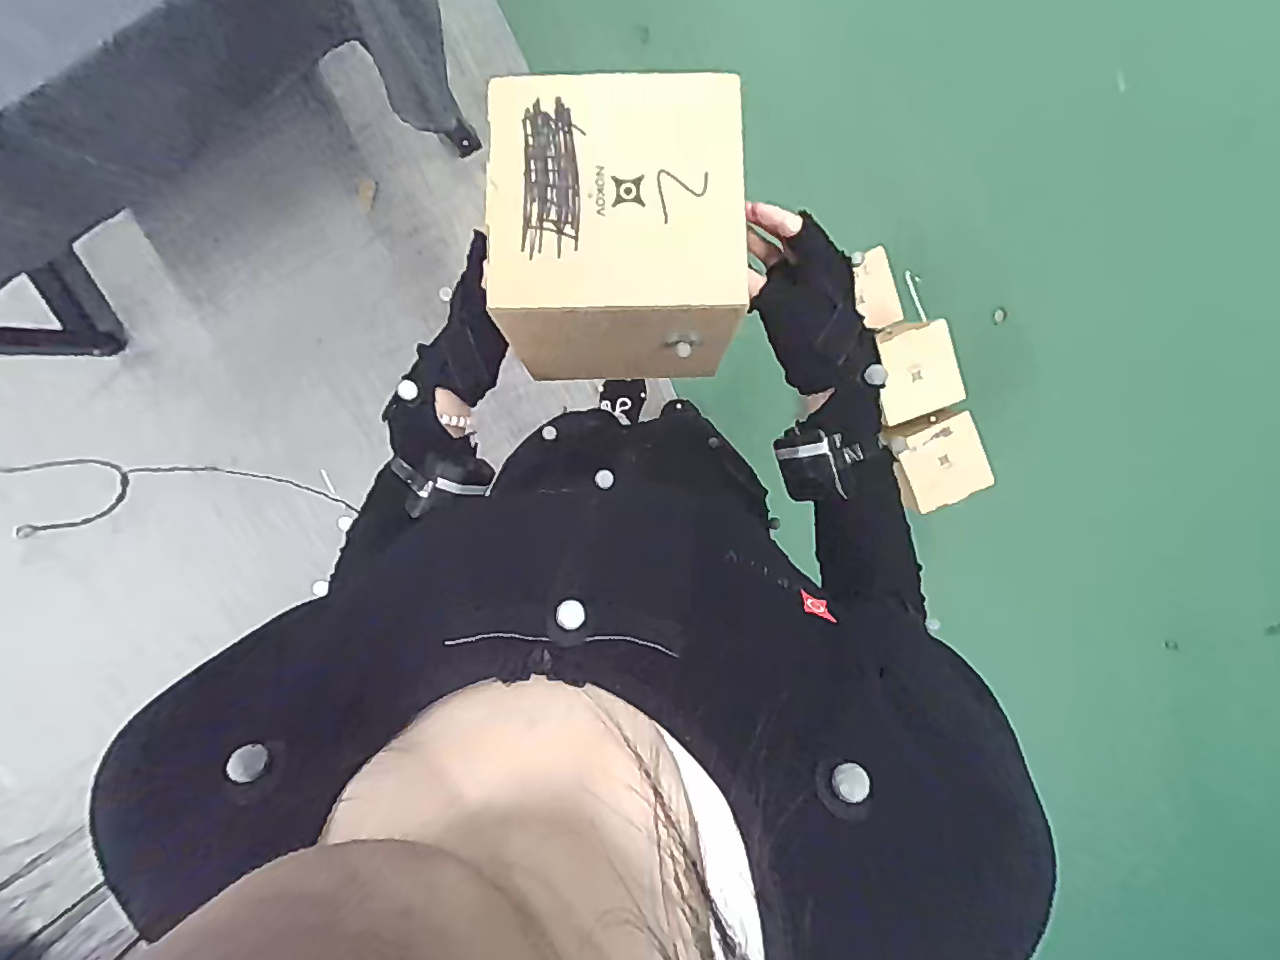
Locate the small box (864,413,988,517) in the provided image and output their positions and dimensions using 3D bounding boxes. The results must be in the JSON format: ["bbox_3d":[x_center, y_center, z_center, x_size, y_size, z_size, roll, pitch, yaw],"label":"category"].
[{"bbox_3d":[0.642,-0.045,1.231,0.168,0.176,0.179,-25,101,6],"label":"small box"}]

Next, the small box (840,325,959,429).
[{"bbox_3d":[0.565,-0.228,1.196,0.168,0.176,0.179,-20,99,6],"label":"small box"}]
